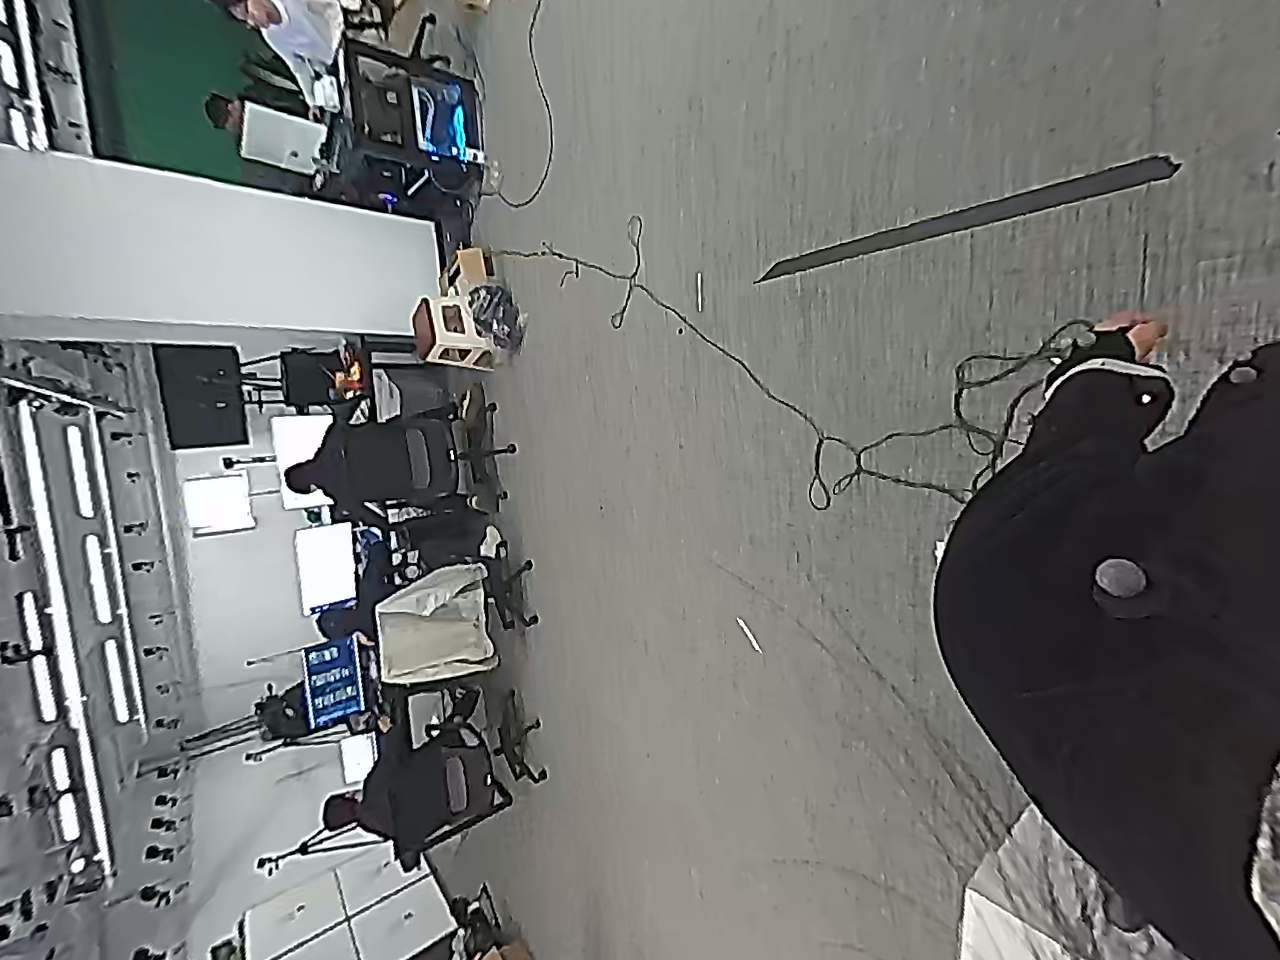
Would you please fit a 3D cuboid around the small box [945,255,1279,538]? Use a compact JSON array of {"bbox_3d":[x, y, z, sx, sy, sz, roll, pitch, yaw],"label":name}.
[{"bbox_3d":[0.419,-0.069,0.487,0.176,0.168,0.179,-167,56,-78],"label":"small box"}]
